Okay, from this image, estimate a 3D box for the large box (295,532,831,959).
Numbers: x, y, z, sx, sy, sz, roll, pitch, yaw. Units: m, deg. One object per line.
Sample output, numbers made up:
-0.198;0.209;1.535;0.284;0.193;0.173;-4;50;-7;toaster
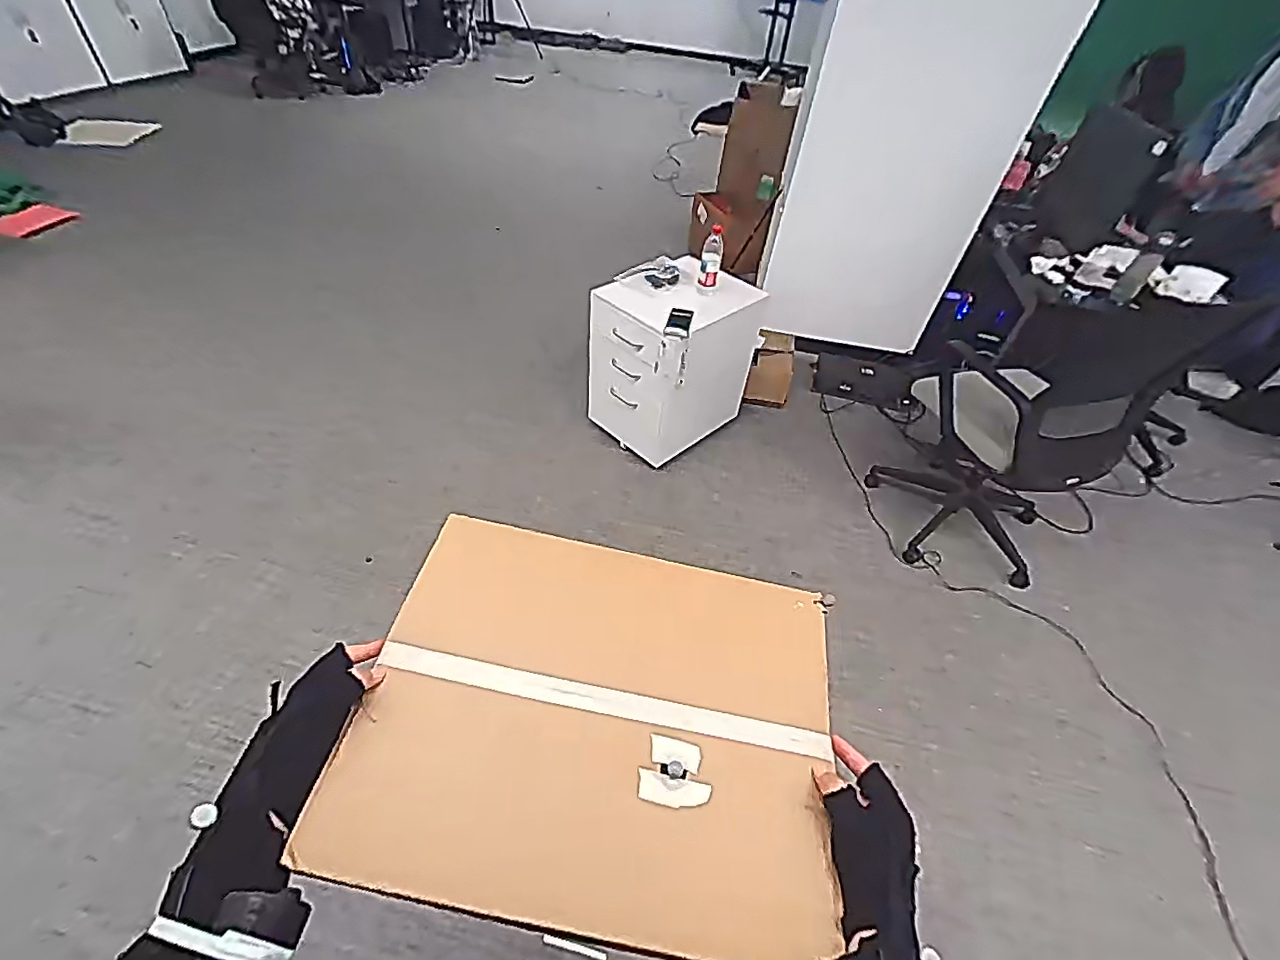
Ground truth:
-0.055;0.301;0.595;0.408;0.320;0.320;13;50;0;large box
